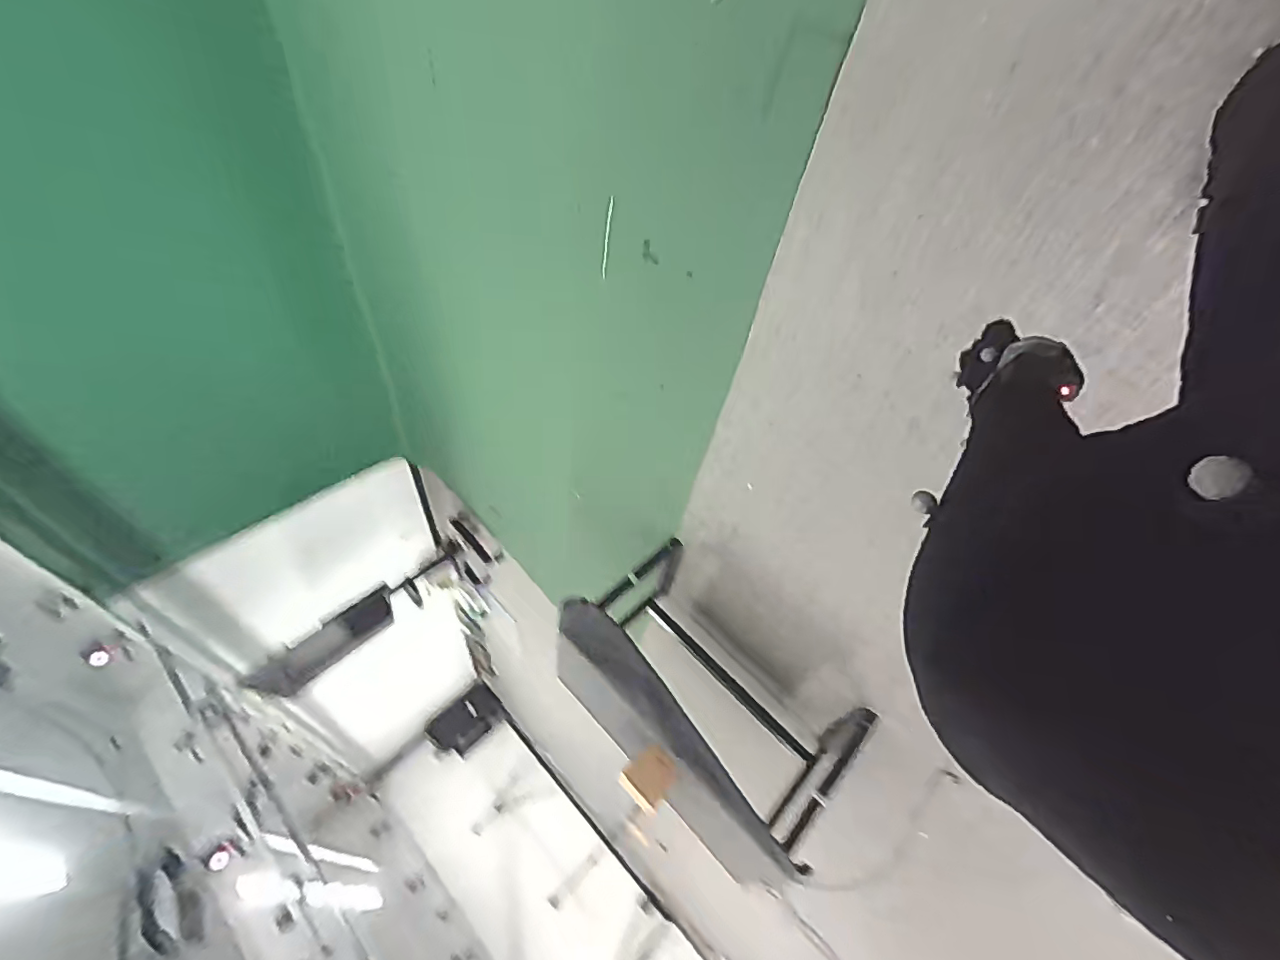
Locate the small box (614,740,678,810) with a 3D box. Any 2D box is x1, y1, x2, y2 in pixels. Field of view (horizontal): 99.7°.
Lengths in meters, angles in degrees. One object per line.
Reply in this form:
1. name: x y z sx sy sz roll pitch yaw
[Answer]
1. small box: 0.022 1.156 2.133 0.179 0.176 0.168 42 148 20
